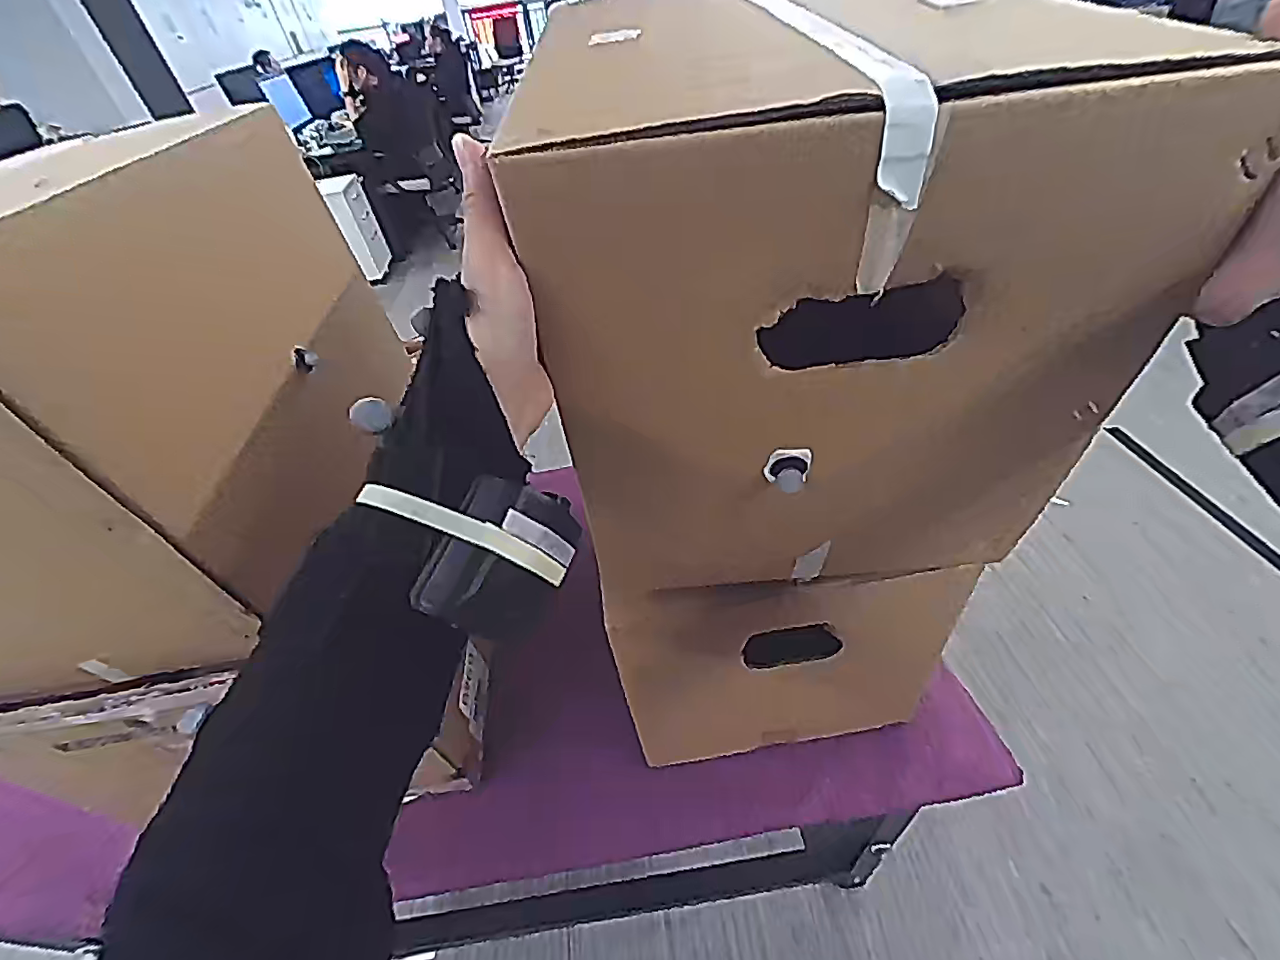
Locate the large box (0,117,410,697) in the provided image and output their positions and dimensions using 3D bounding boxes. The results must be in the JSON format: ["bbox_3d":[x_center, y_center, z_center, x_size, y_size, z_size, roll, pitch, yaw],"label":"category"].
[{"bbox_3d":[-0.453,-0.081,0.488,0.320,0.320,0.408,-12,44,3],"label":"large box"}]
